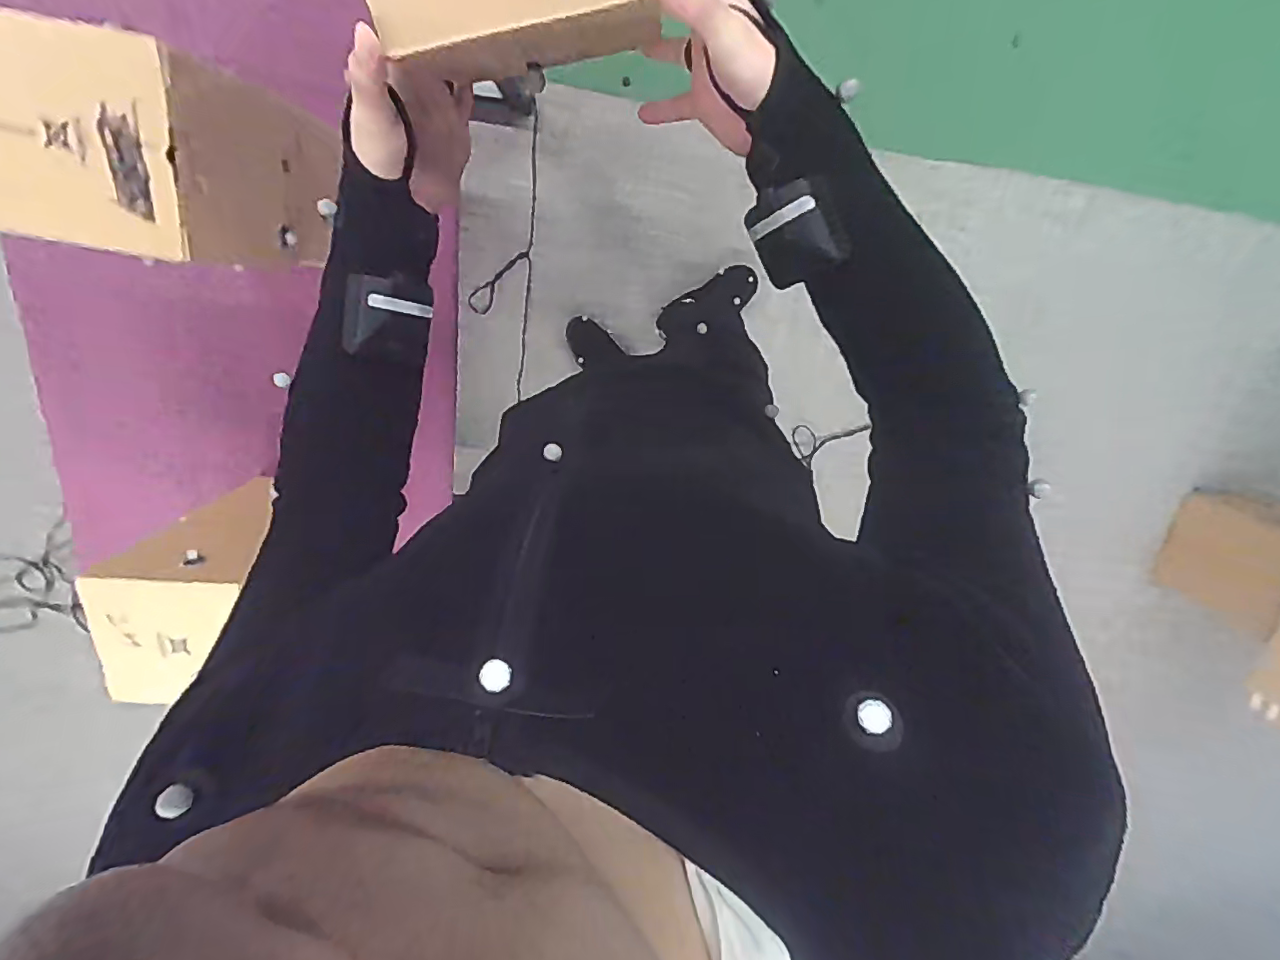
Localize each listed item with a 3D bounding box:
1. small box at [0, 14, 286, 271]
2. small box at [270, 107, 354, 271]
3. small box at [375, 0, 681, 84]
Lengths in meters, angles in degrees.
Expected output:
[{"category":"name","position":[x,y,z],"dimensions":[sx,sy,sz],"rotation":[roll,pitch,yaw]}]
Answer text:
[{"category":"small box","position":[-0.464,-0.298,0.509],"dimensions":[0.179,0.176,0.168],"rotation":[9,109,-2]},{"category":"small box","position":[-0.473,-0.355,0.664],"dimensions":[0.179,0.176,0.168],"rotation":[6,110,-1]},{"category":"small box","position":[-0.070,-0.361,0.320],"dimensions":[0.168,0.176,0.179],"rotation":[-7,122,5]}]
